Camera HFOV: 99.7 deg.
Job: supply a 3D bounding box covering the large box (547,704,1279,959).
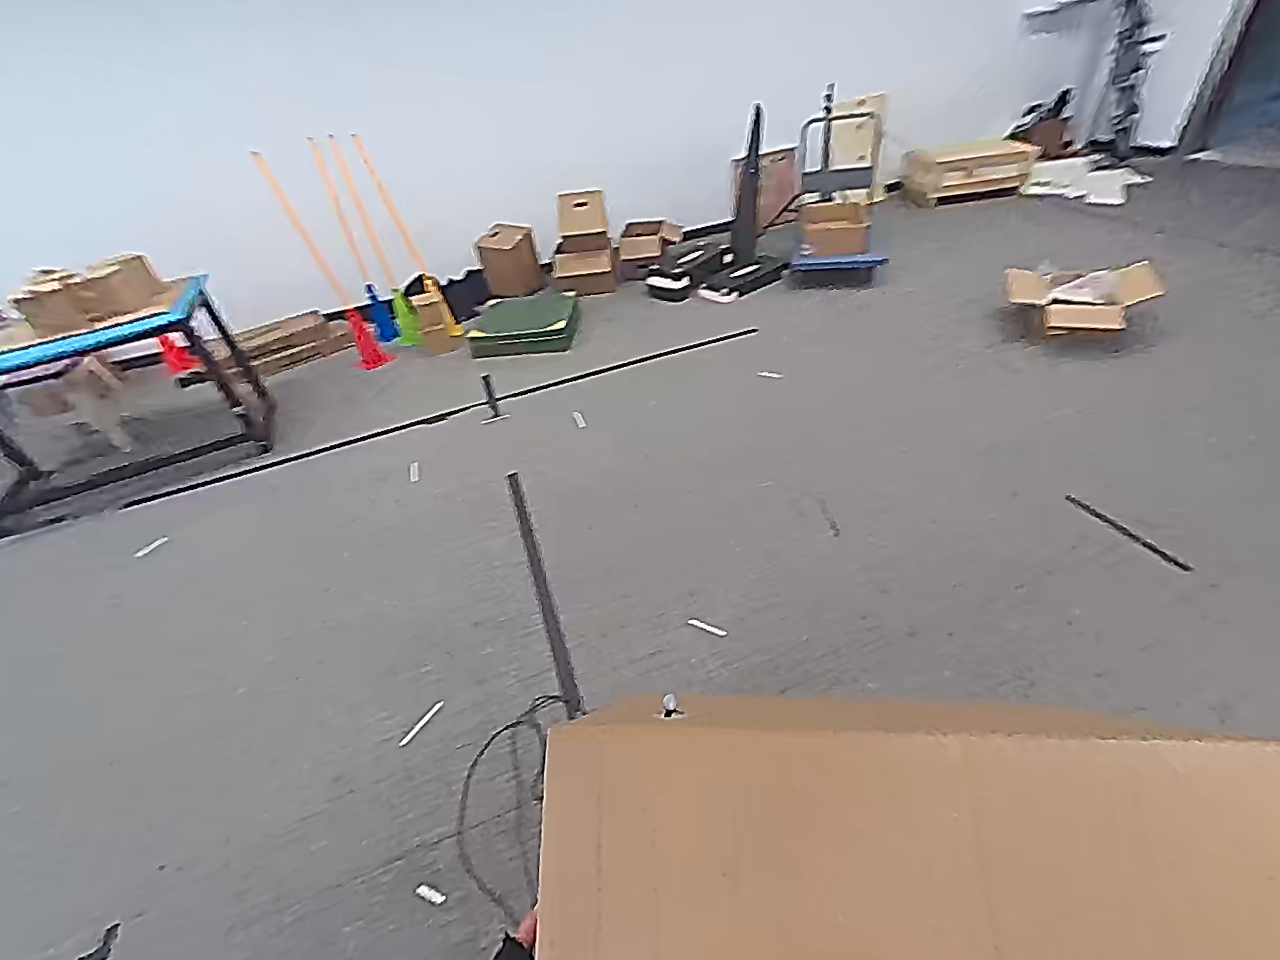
[{"bbox_3d":[0.165,0.347,0.409,0.408,0.320,0.320,-4,72,9],"label":"large box"}]
